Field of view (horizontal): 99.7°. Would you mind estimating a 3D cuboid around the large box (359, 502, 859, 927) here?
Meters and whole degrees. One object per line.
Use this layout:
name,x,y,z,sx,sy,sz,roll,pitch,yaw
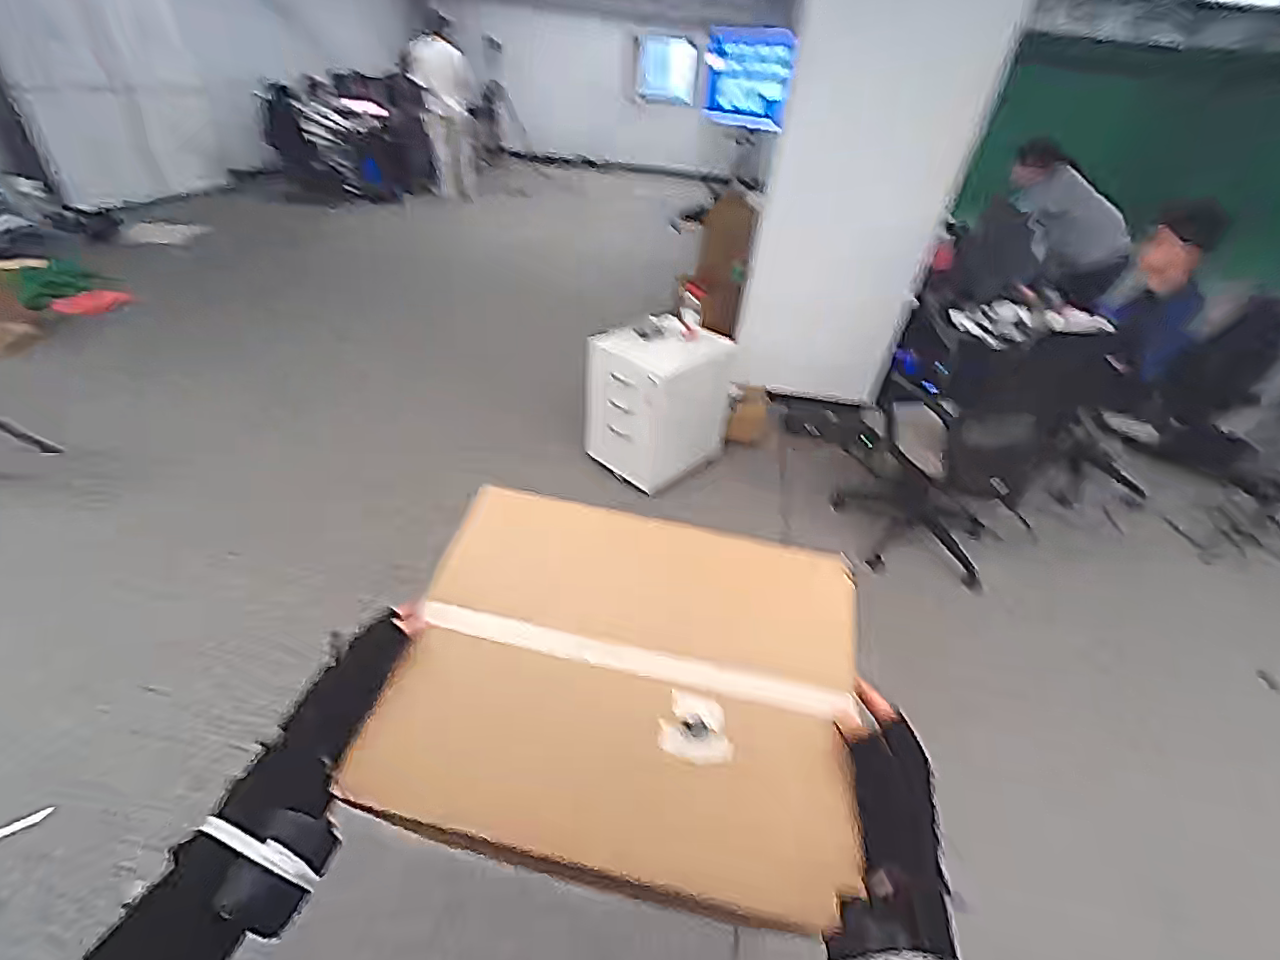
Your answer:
large box,-0.014,0.270,0.620,0.408,0.320,0.320,12,52,5
